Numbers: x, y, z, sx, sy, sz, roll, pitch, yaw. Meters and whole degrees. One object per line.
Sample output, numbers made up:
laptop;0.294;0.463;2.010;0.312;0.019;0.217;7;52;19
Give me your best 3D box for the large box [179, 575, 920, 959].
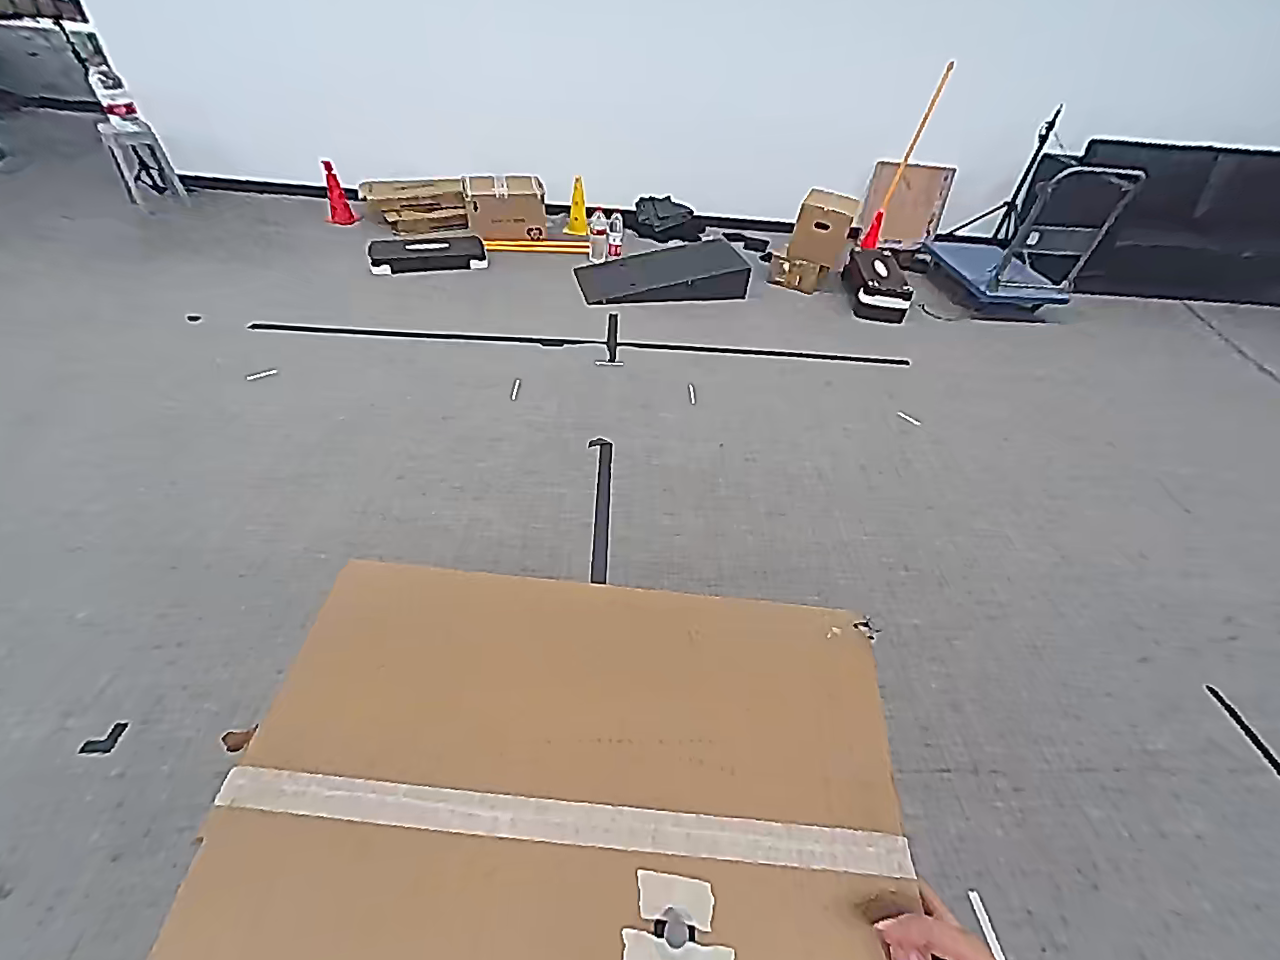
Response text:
large box;-0.047;0.302;0.445;0.408;0.320;0.320;6;52;0
